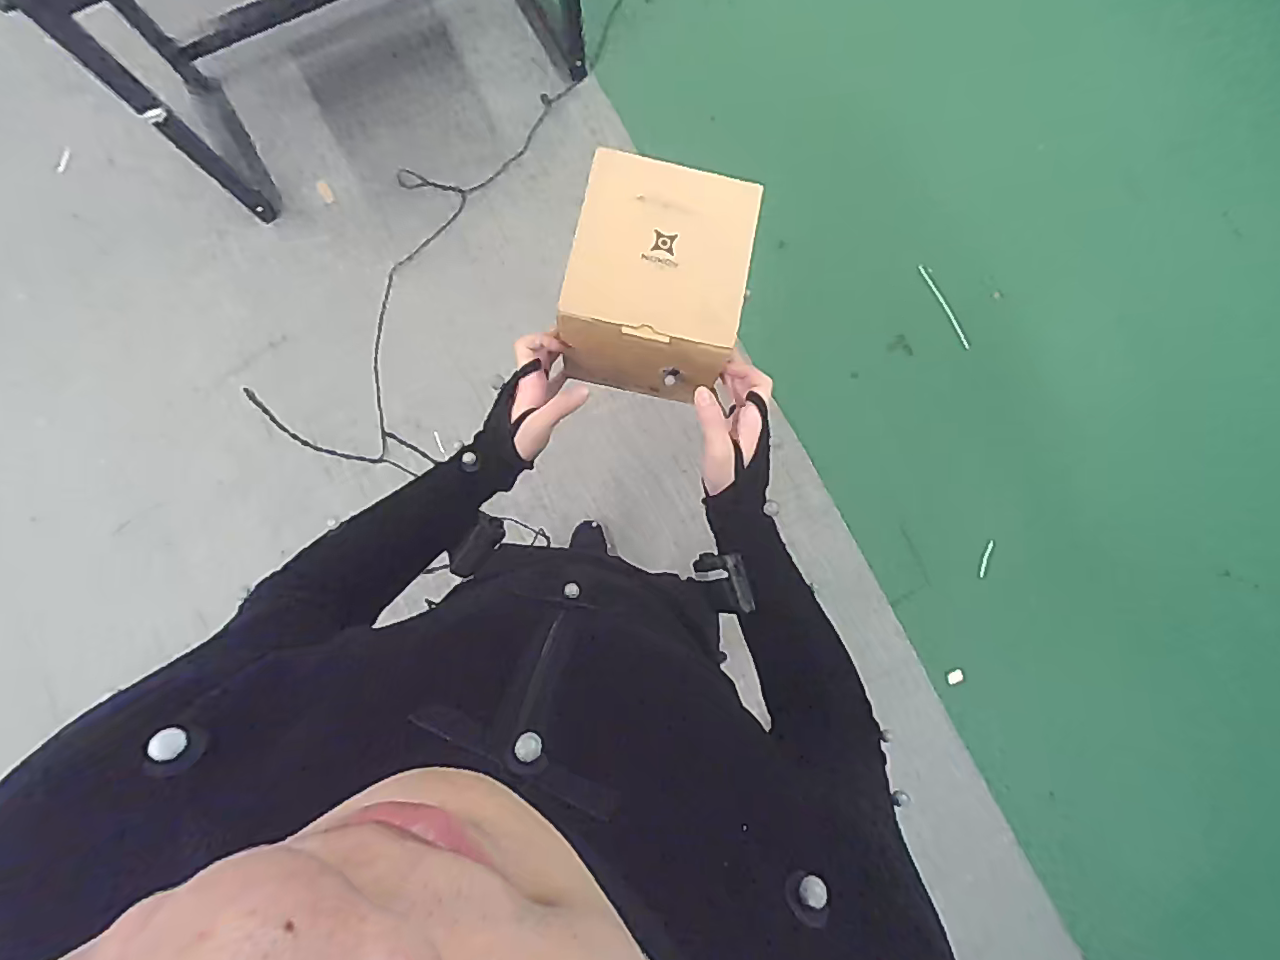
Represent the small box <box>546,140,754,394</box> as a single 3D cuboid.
[{"bbox_3d":[0.007,-0.208,0.576,0.168,0.176,0.179,12,80,-3],"label":"small box"}]
